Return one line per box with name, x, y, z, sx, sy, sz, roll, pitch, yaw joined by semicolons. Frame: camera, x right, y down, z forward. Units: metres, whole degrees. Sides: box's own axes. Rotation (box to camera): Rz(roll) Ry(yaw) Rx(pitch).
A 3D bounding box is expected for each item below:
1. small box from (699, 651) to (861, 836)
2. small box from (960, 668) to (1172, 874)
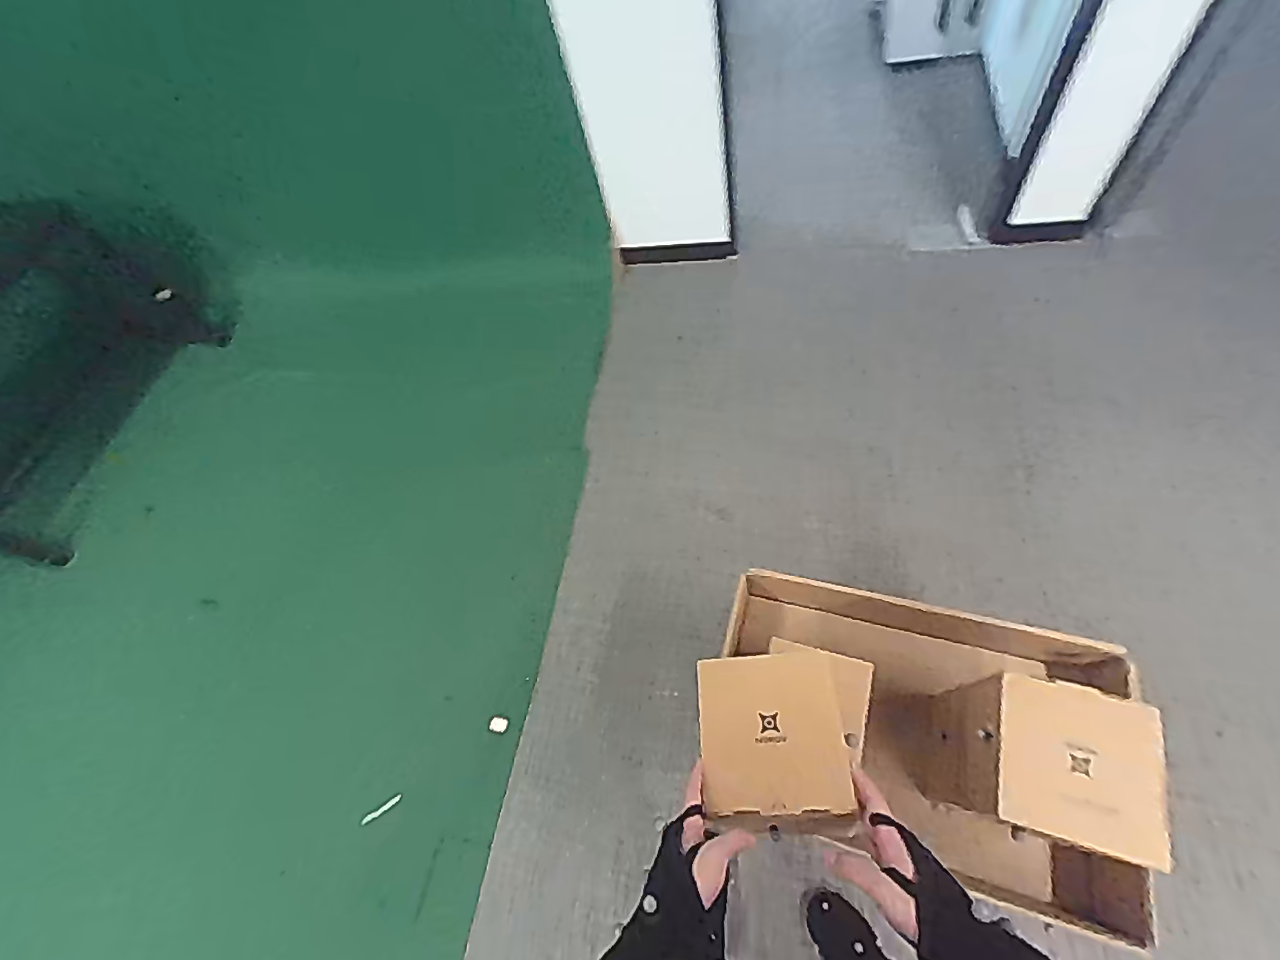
small box;0.172;0.339;0.690;0.168;0.176;0.179;-9;50;11
small box;0.535;0.368;0.704;0.168;0.176;0.179;11;66;19
